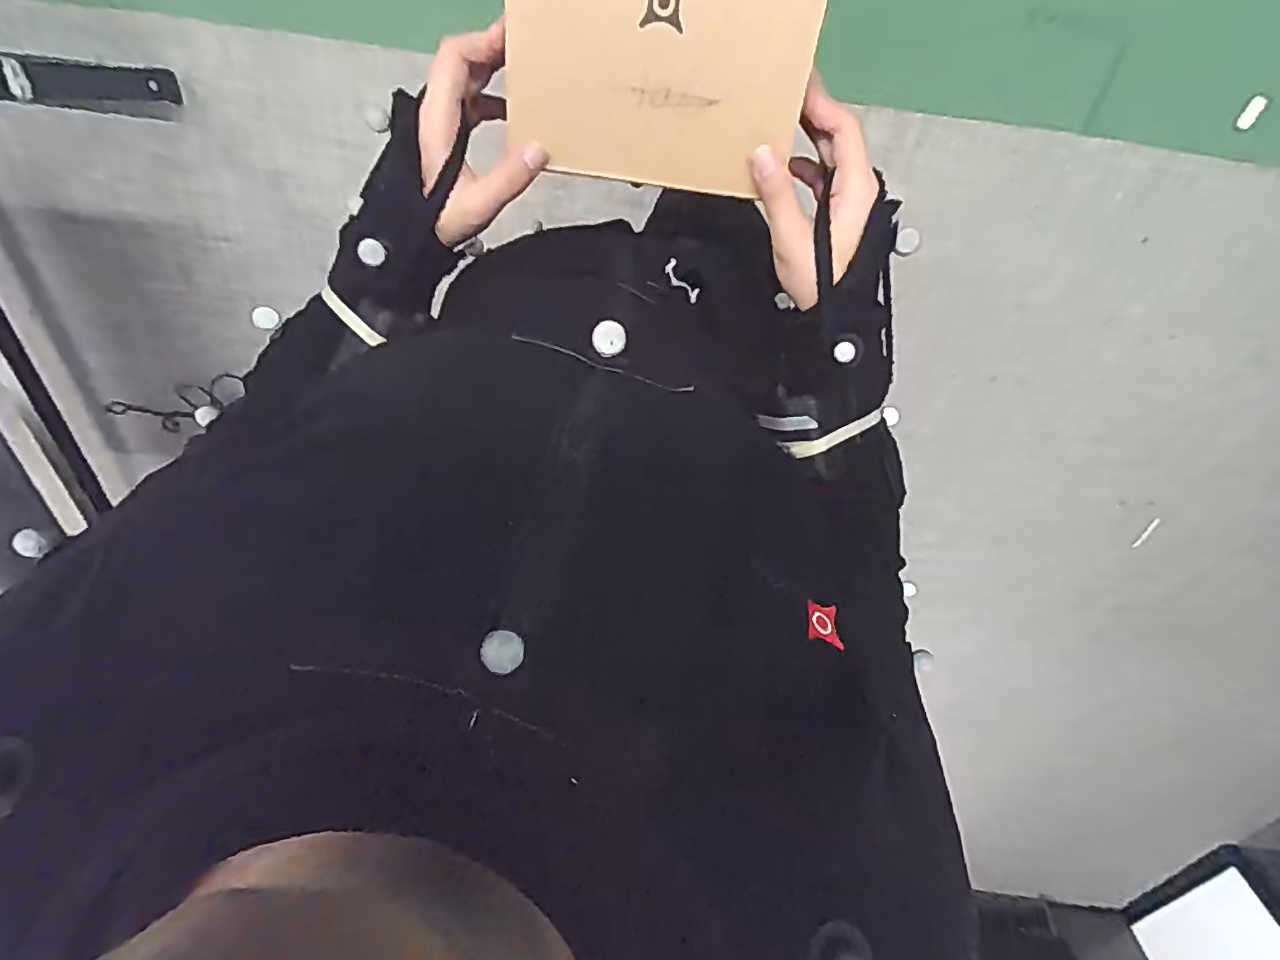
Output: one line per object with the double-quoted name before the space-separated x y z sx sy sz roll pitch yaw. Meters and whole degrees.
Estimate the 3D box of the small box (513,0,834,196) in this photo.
"small box" 0.021 -0.296 0.337 0.168 0.176 0.179 8 126 -1
